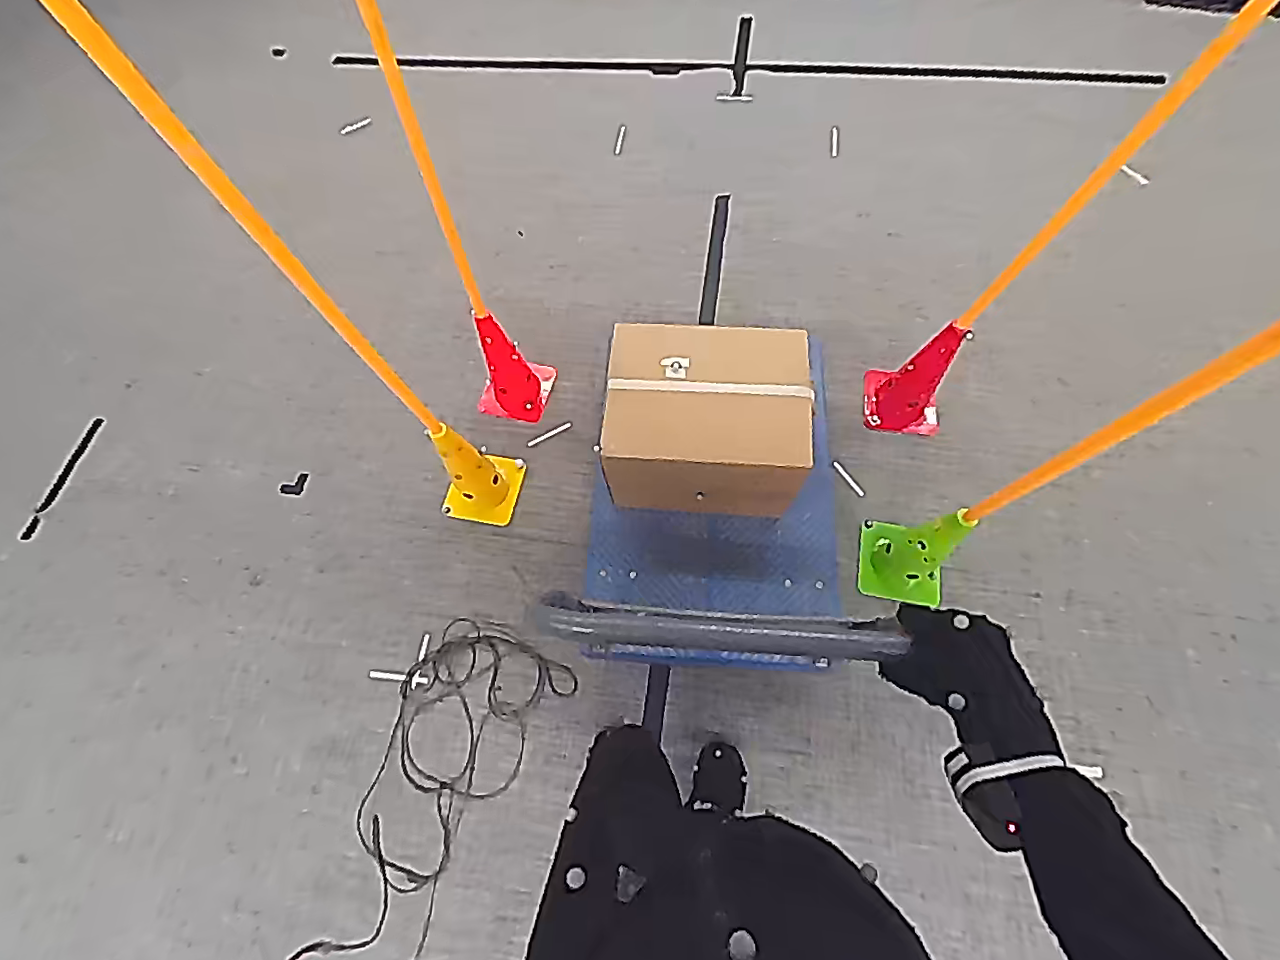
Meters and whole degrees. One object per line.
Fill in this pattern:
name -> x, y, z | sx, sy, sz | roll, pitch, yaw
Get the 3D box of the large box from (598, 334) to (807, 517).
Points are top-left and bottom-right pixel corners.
large box -> 0.138, -0.110, 1.220 | 0.408, 0.320, 0.320 | 3, 68, 5

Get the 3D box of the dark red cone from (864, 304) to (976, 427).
dark red cone -> 0.745, -0.308, 1.403 | 0.201, 0.394, 0.202 | 7, 68, 4

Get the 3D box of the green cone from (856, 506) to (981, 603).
green cone -> 0.659, 0.141, 1.240 | 0.202, 0.368, 0.200 | 10, 68, 6

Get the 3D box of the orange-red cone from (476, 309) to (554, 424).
orange-red cone -> -0.385, -0.341, 1.501 | 0.198, 0.360, 0.199 | 13, 67, 7
